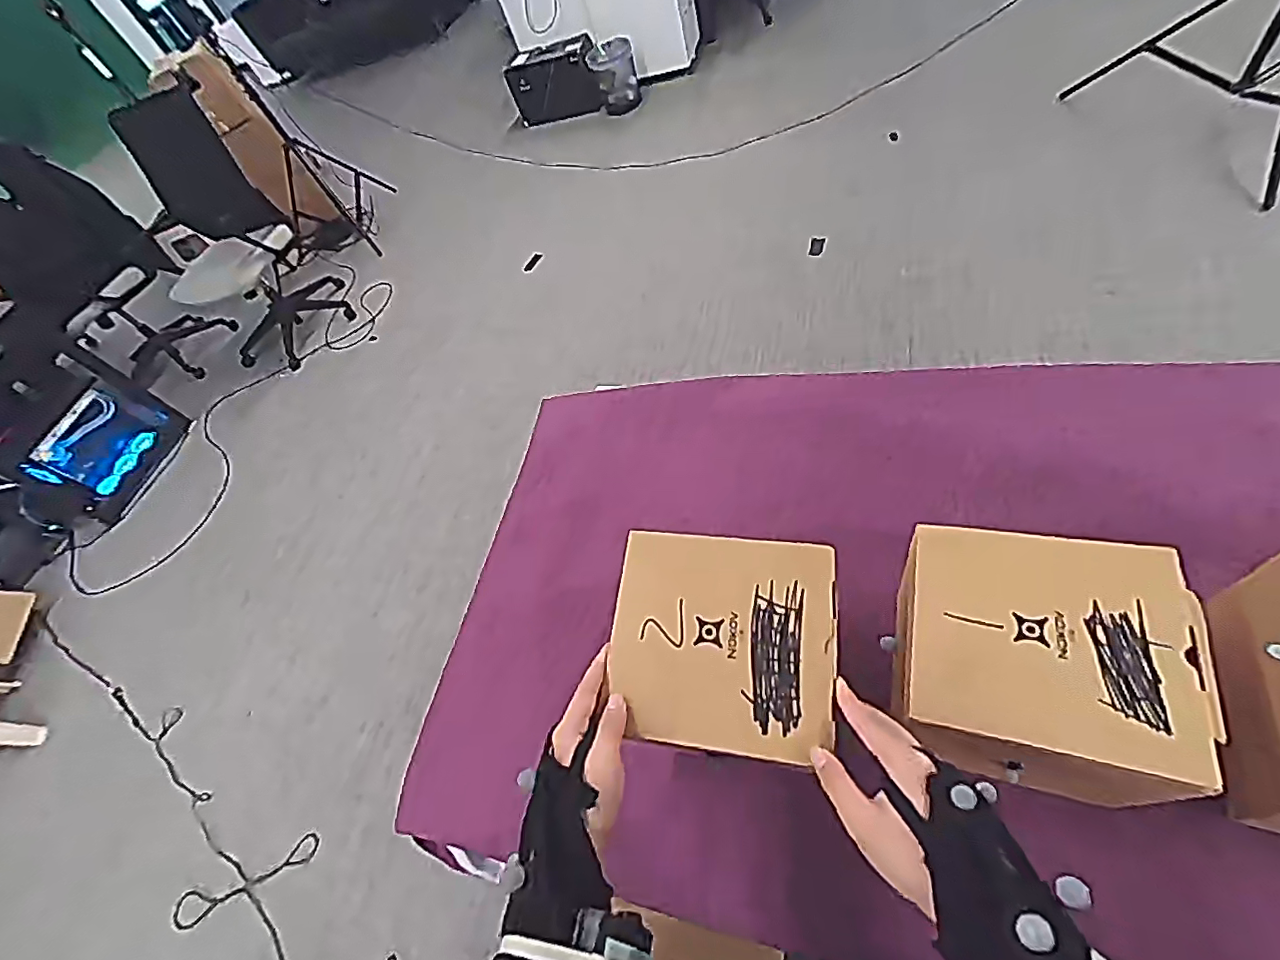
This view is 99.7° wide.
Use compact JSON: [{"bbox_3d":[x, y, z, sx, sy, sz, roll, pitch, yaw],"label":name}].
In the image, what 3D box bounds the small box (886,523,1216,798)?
[{"bbox_3d":[0.317,0.156,0.461,0.179,0.176,0.168,5,60,23],"label":"small box"}]
